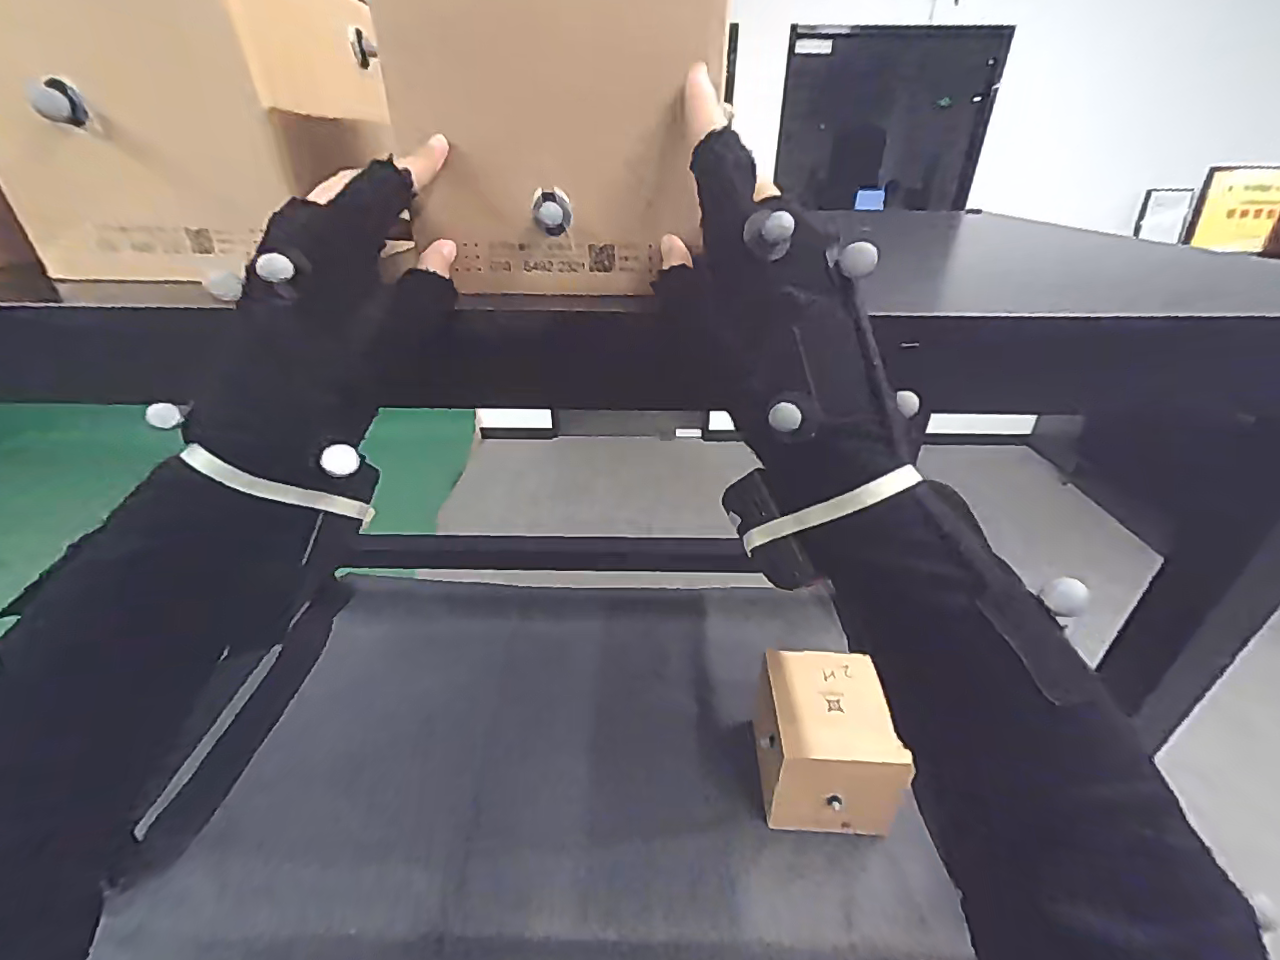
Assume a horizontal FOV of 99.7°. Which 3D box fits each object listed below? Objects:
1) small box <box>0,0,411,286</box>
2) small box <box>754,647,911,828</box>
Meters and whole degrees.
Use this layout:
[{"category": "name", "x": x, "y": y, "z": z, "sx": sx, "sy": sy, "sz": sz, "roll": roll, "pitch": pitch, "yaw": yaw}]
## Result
[{"category": "small box", "x": -0.279, "y": -0.234, "z": 0.371, "sx": 0.168, "sy": 0.176, "sz": 0.179, "roll": 1, "pitch": 31, "yaw": 2}, {"category": "small box", "x": 0.262, "y": 0.370, "z": 0.782, "sx": 0.168, "sy": 0.176, "sz": 0.179, "roll": 3, "pitch": 30, "yaw": 3}]
